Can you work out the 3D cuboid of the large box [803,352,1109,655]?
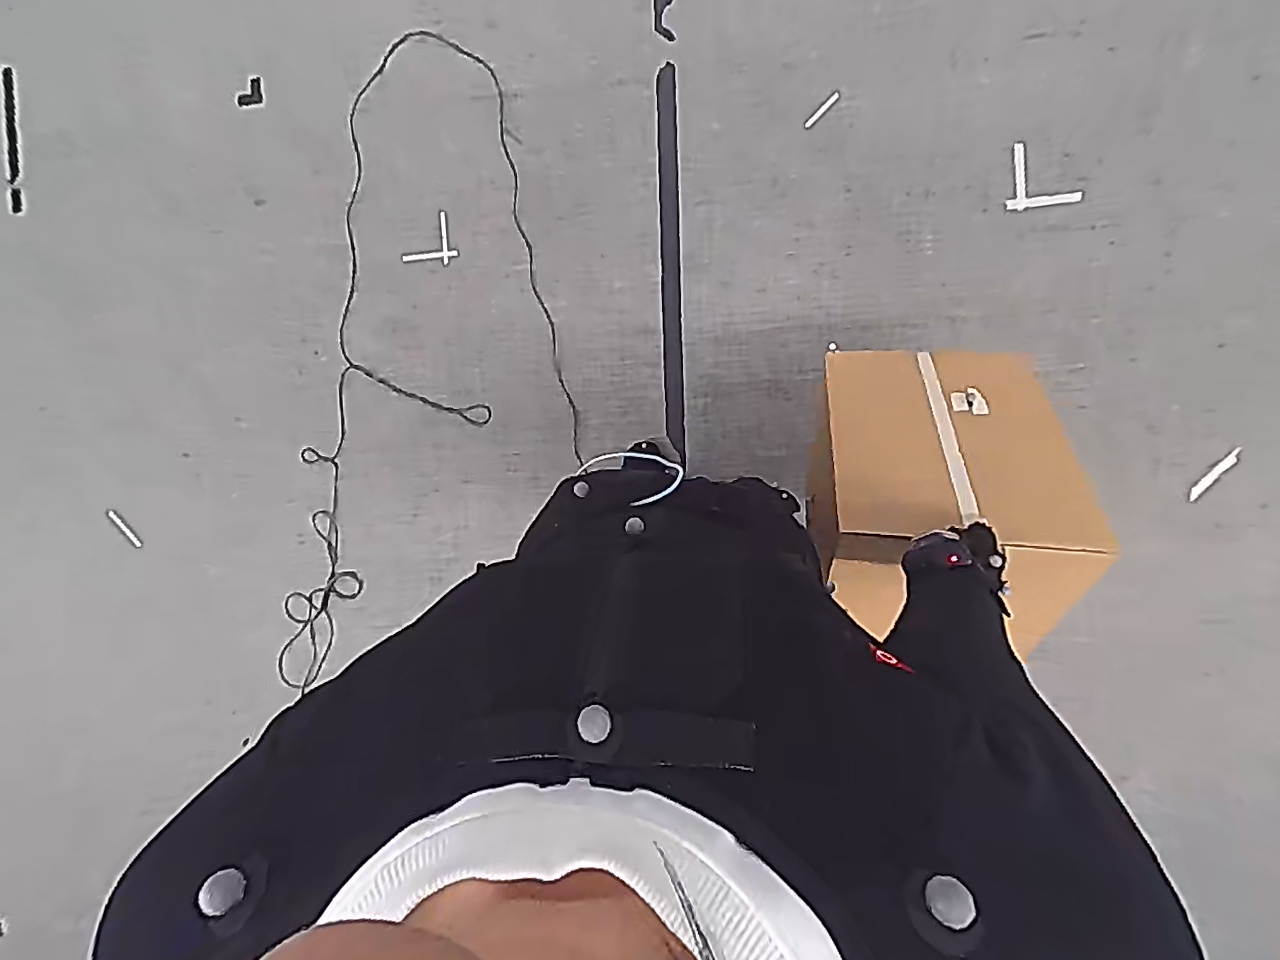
[{"bbox_3d":[0.456,0.032,0.907,0.320,0.408,0.320,4,137,10],"label":"large box"}]
